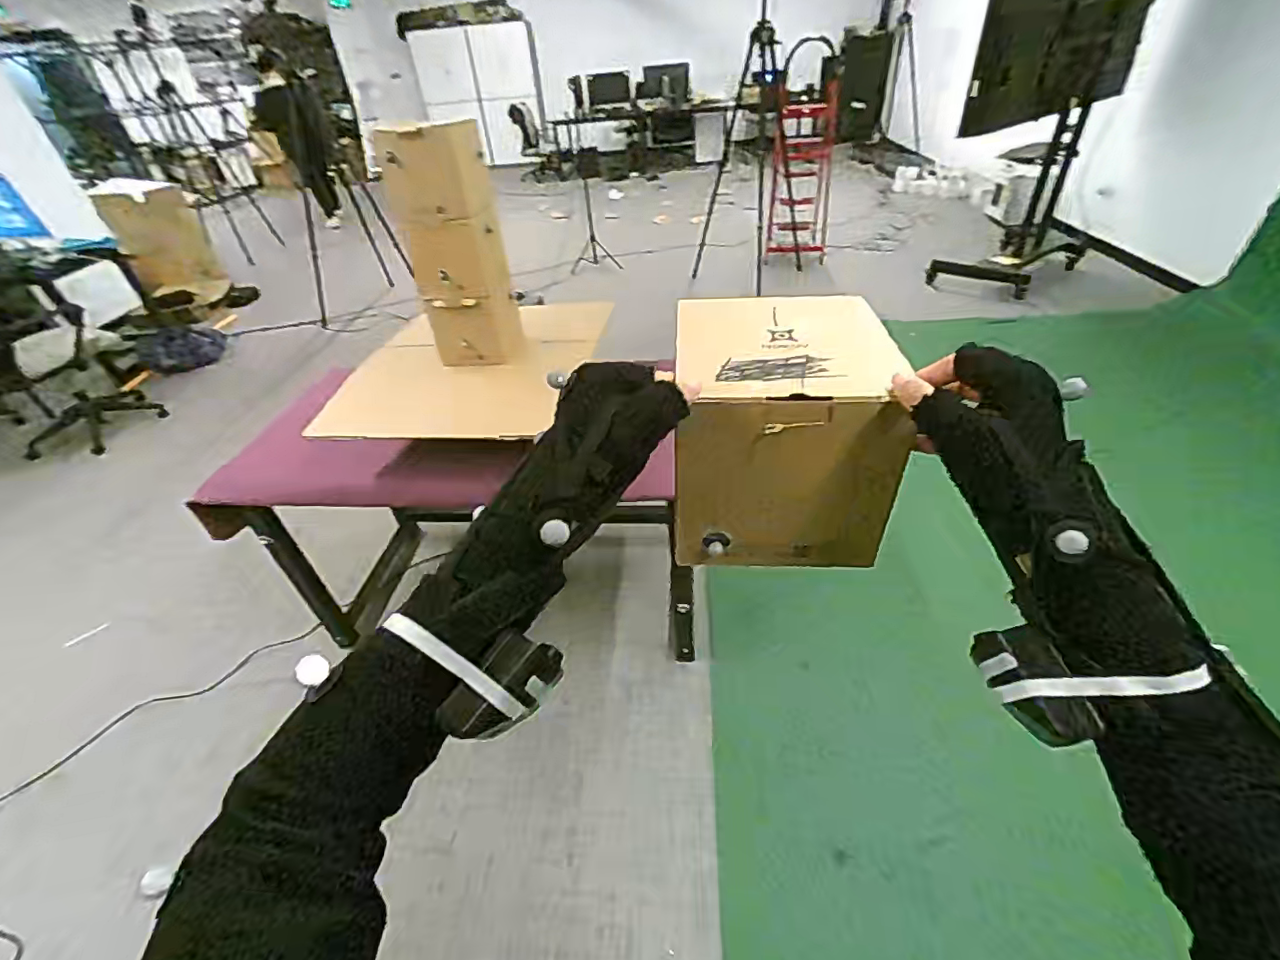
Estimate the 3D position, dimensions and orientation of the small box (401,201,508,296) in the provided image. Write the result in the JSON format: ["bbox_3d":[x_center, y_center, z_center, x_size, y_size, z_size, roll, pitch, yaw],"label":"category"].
[{"bbox_3d":[-0.417,-0.537,1.253,0.168,0.176,0.179,0,38,6],"label":"small box"}]

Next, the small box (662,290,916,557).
[{"bbox_3d":[0.106,-0.045,0.469,0.168,0.176,0.179,-2,41,2],"label":"small box"}]

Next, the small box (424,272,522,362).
[{"bbox_3d":[-0.405,-0.408,1.351,0.168,0.176,0.179,0,38,8],"label":"small box"}]
